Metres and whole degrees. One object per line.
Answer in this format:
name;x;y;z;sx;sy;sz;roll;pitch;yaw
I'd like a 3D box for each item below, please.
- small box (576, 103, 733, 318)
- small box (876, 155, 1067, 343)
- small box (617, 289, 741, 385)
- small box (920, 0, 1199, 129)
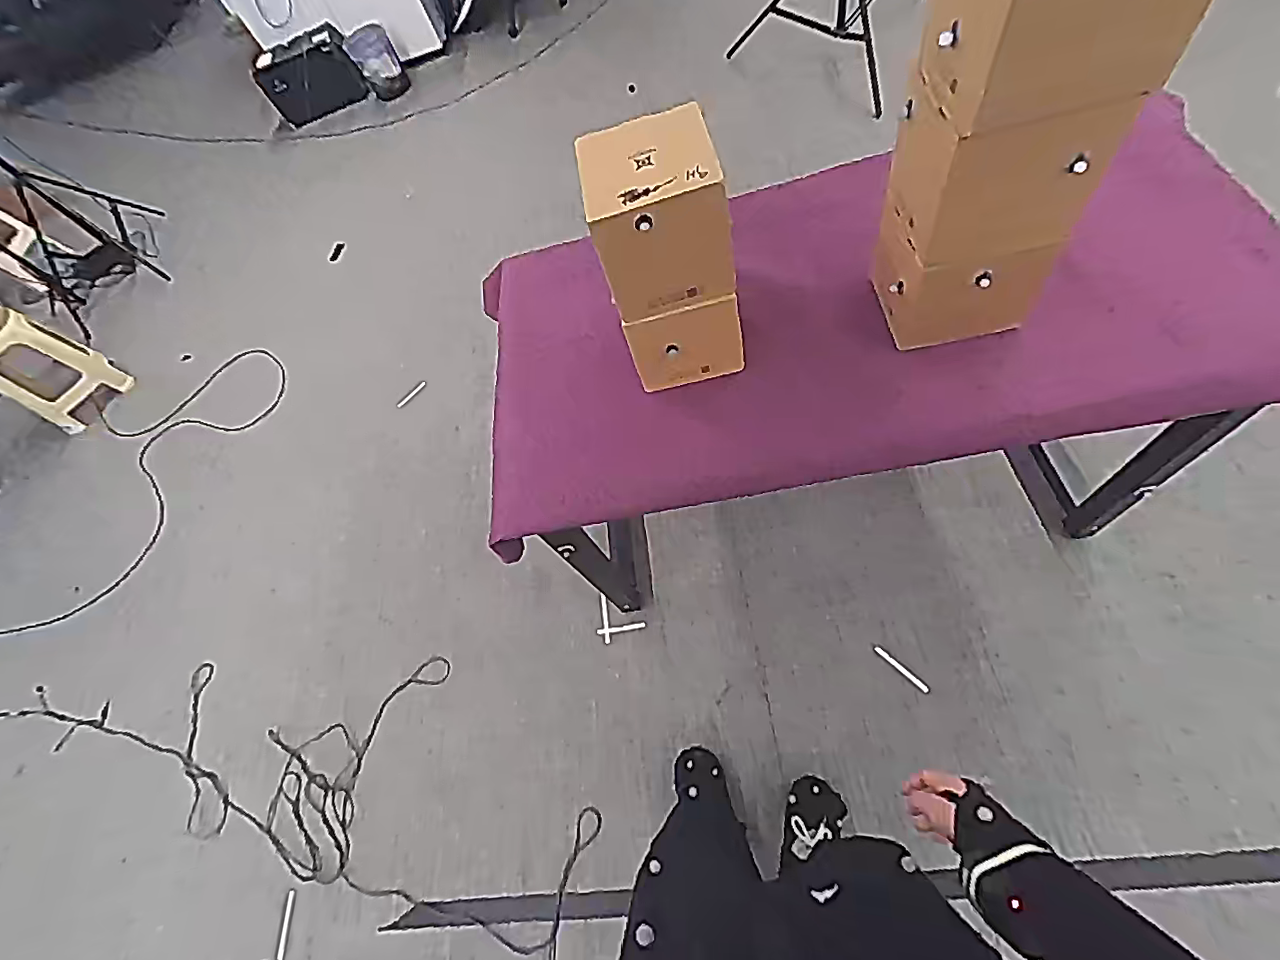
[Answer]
small box;0.023;-0.352;0.725;0.168;0.176;0.179;-14;59;9
small box;0.454;-0.321;0.781;0.179;0.176;0.168;-10;62;10
small box;0.061;-0.272;0.863;0.168;0.176;0.179;-13;60;9
small box;0.386;-0.466;0.493;0.179;0.176;0.168;-11;61;10
